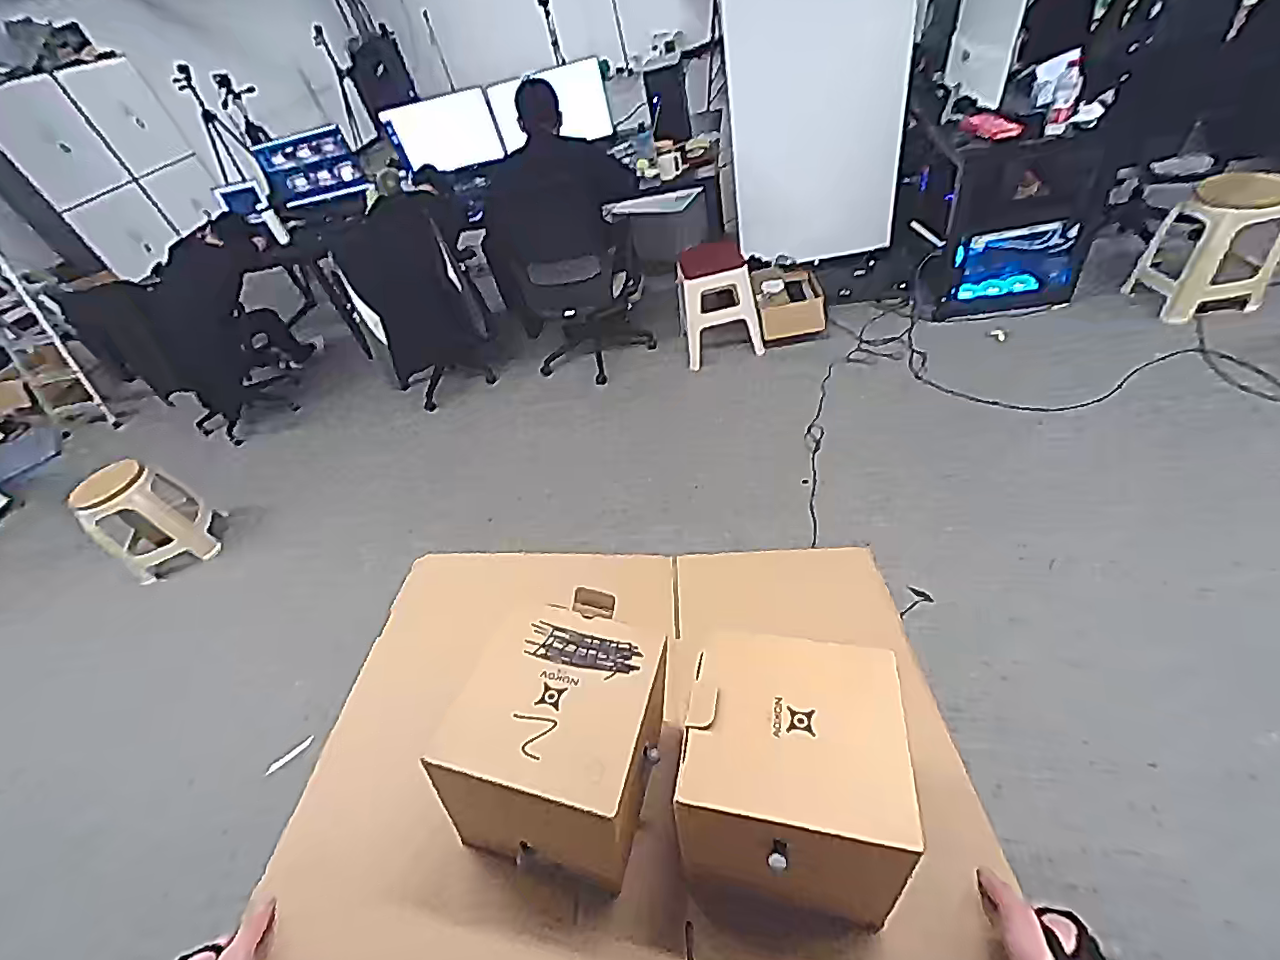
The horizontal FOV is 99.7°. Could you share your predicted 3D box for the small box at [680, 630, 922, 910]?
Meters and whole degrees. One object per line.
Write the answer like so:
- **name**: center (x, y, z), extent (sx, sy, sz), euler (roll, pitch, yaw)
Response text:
- **small box**: center (0.142, 0.268, 0.507), extent (0.179, 0.176, 0.168), euler (3, 38, 15)
